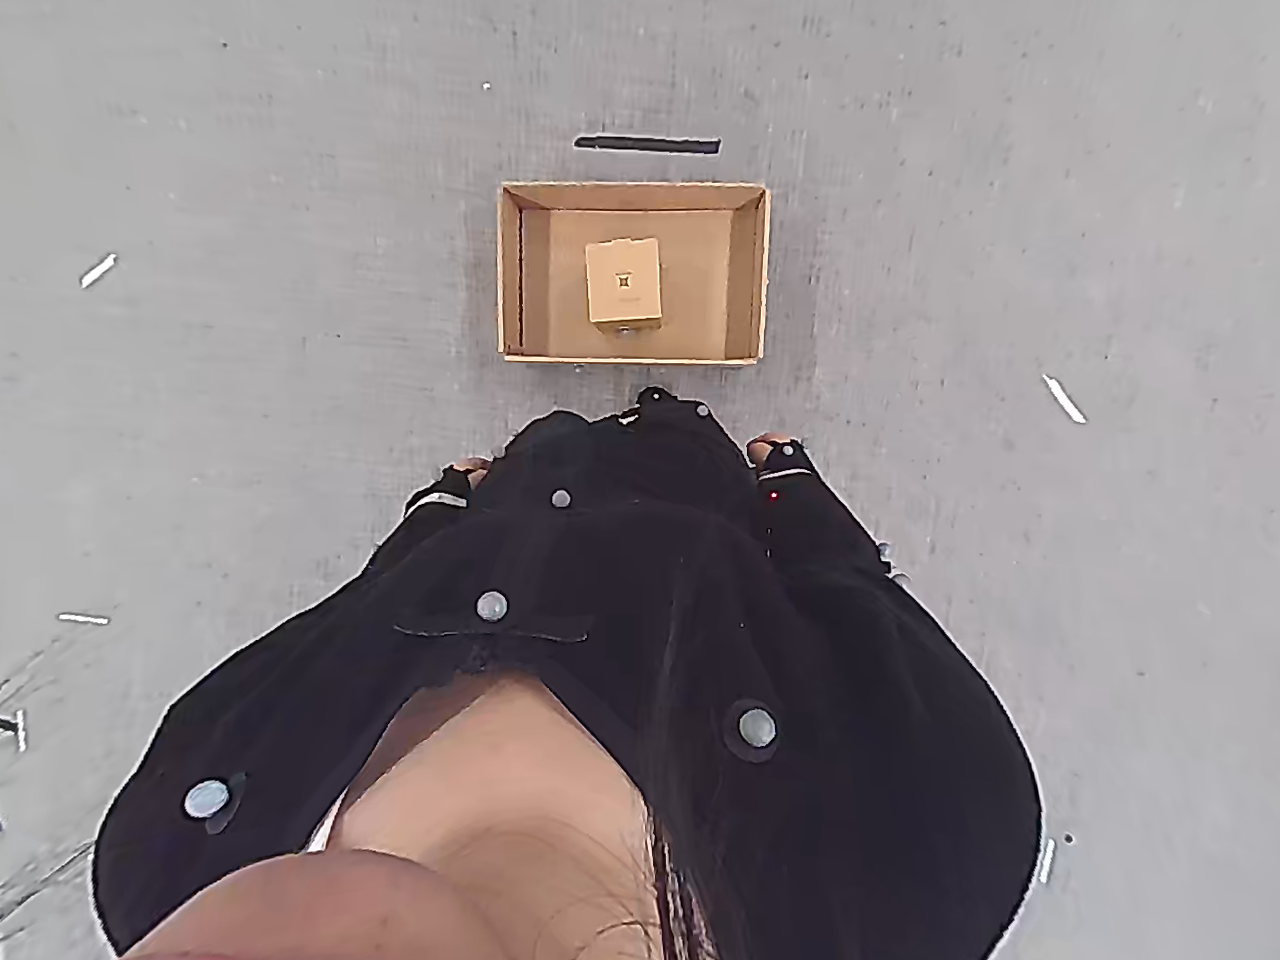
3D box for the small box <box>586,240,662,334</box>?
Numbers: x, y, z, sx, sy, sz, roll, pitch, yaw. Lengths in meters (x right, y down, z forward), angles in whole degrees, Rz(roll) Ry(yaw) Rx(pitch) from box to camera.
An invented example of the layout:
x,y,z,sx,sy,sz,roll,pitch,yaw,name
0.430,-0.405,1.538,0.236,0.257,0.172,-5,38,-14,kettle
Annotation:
x,y,z,sx,sy,sz,roll,pitch,yaw,name
-0.034,-0.457,1.299,0.168,0.176,0.179,-3,98,4,small box
